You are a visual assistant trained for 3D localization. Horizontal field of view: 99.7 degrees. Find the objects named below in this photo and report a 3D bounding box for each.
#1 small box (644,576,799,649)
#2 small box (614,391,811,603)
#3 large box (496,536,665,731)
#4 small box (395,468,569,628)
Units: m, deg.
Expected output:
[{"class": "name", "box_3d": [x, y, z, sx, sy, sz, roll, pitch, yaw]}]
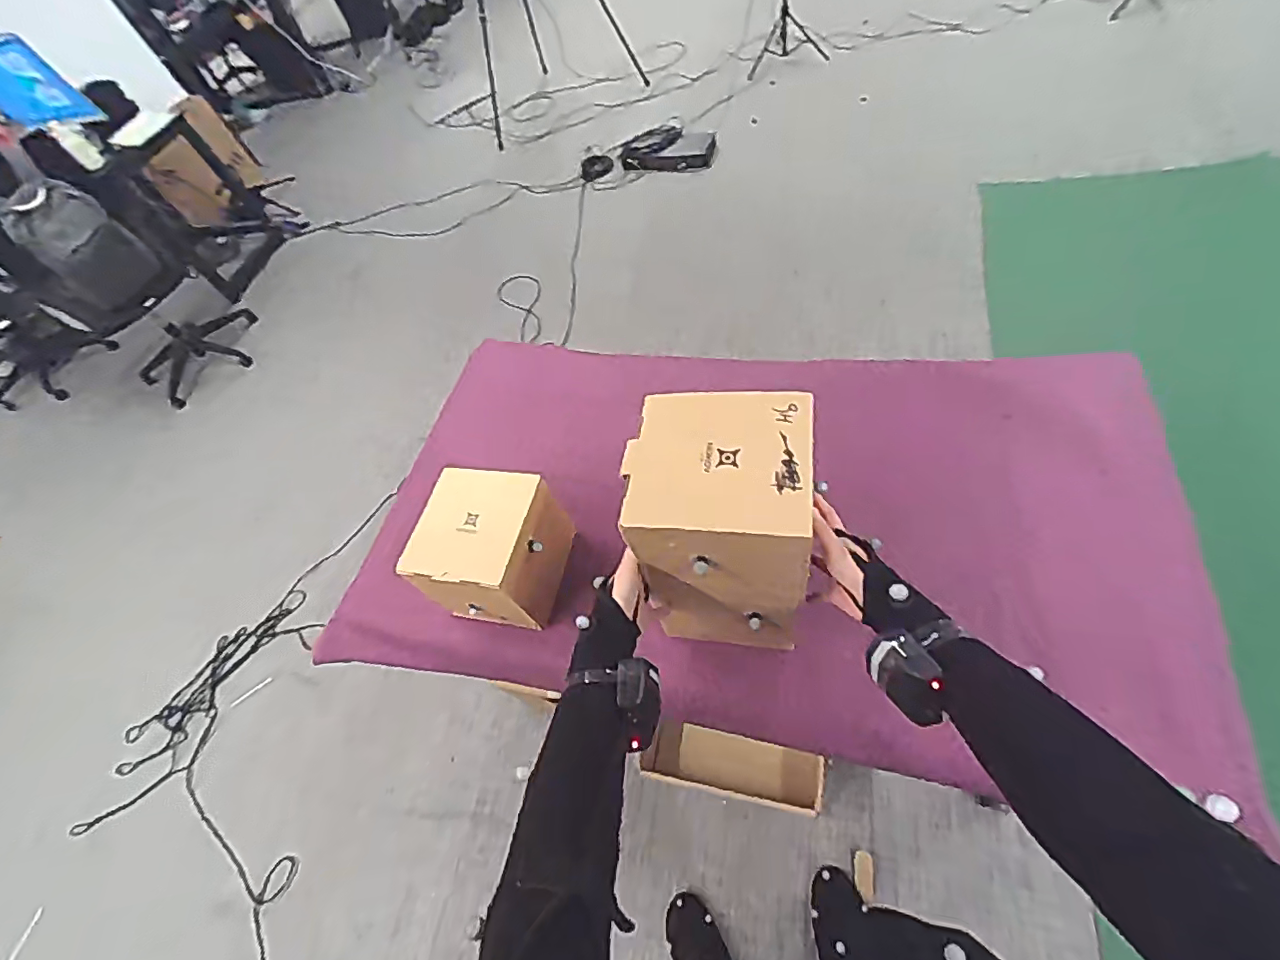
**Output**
[{"class": "small box", "box_3d": [0.118, 0.113, 0.714, 0.179, 0.176, 0.168, 2, 57, 16]}, {"class": "small box", "box_3d": [0.090, 0.023, 0.580, 0.179, 0.176, 0.168, 1, 58, 16]}, {"class": "large box", "box_3d": [-0.117, 0.394, 1.409, 0.320, 0.320, 0.408, 4, 60, 17]}, {"class": "small box", "box_3d": [-0.221, 0.103, 0.817, 0.168, 0.176, 0.179, 5, 59, 17]}]
